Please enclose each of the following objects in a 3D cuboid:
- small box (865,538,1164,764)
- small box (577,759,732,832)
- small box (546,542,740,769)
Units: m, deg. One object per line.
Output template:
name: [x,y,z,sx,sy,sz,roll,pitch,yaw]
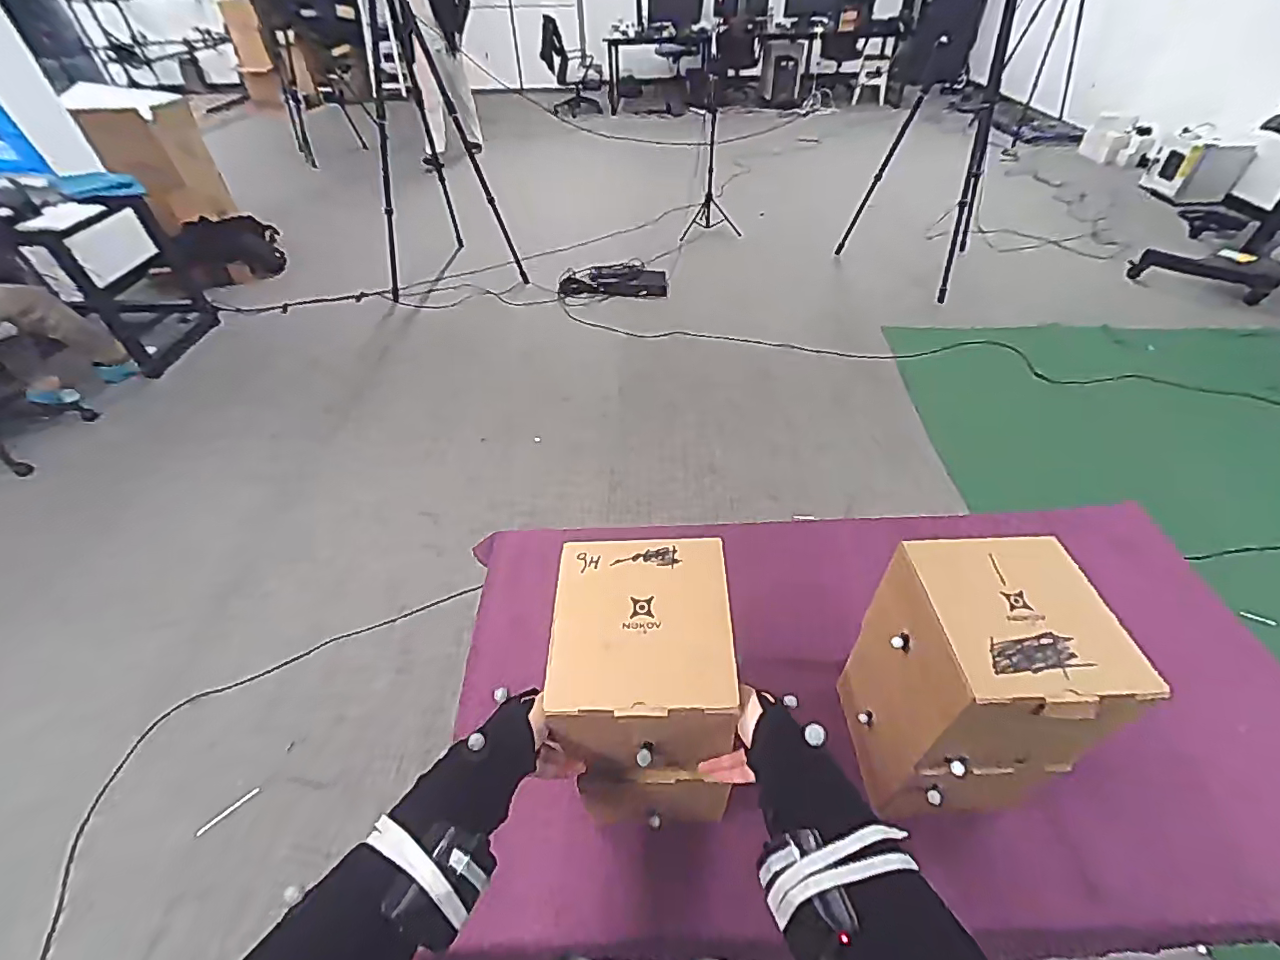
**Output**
small box: [0.360,0.182,0.567,0.168,0.176,0.179,-2,42,0]
small box: [0.018,0.317,0.679,0.168,0.176,0.179,-1,44,2]
small box: [0.009,0.186,0.557,0.168,0.176,0.179,-3,47,3]
